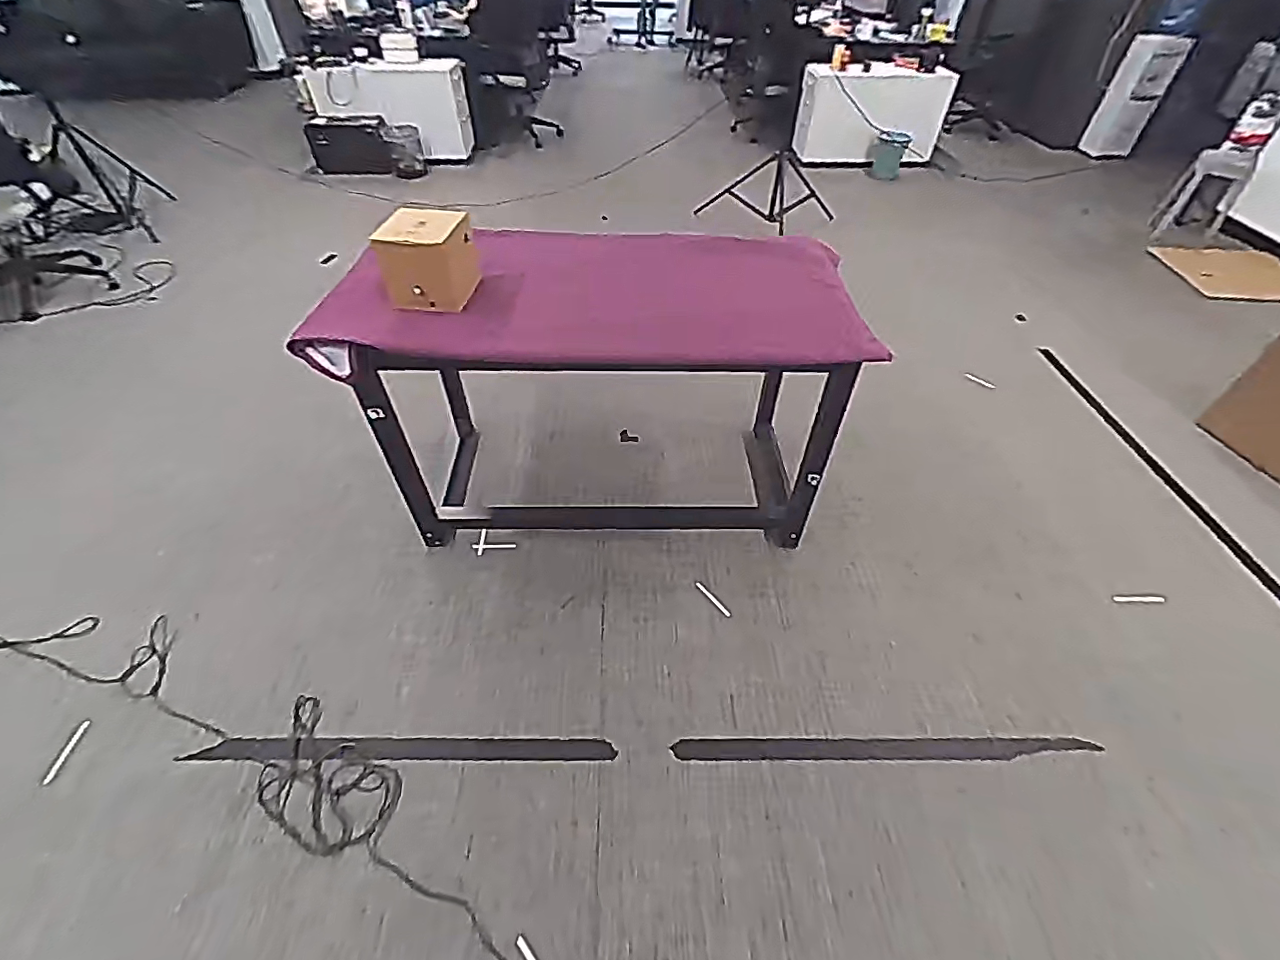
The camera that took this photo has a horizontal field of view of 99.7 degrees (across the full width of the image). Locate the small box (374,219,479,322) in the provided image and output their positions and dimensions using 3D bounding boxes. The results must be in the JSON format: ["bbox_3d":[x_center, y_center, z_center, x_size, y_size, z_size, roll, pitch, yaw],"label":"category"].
[{"bbox_3d":[-0.498,-0.501,1.293,0.168,0.176,0.179,5,47,4],"label":"small box"}]
